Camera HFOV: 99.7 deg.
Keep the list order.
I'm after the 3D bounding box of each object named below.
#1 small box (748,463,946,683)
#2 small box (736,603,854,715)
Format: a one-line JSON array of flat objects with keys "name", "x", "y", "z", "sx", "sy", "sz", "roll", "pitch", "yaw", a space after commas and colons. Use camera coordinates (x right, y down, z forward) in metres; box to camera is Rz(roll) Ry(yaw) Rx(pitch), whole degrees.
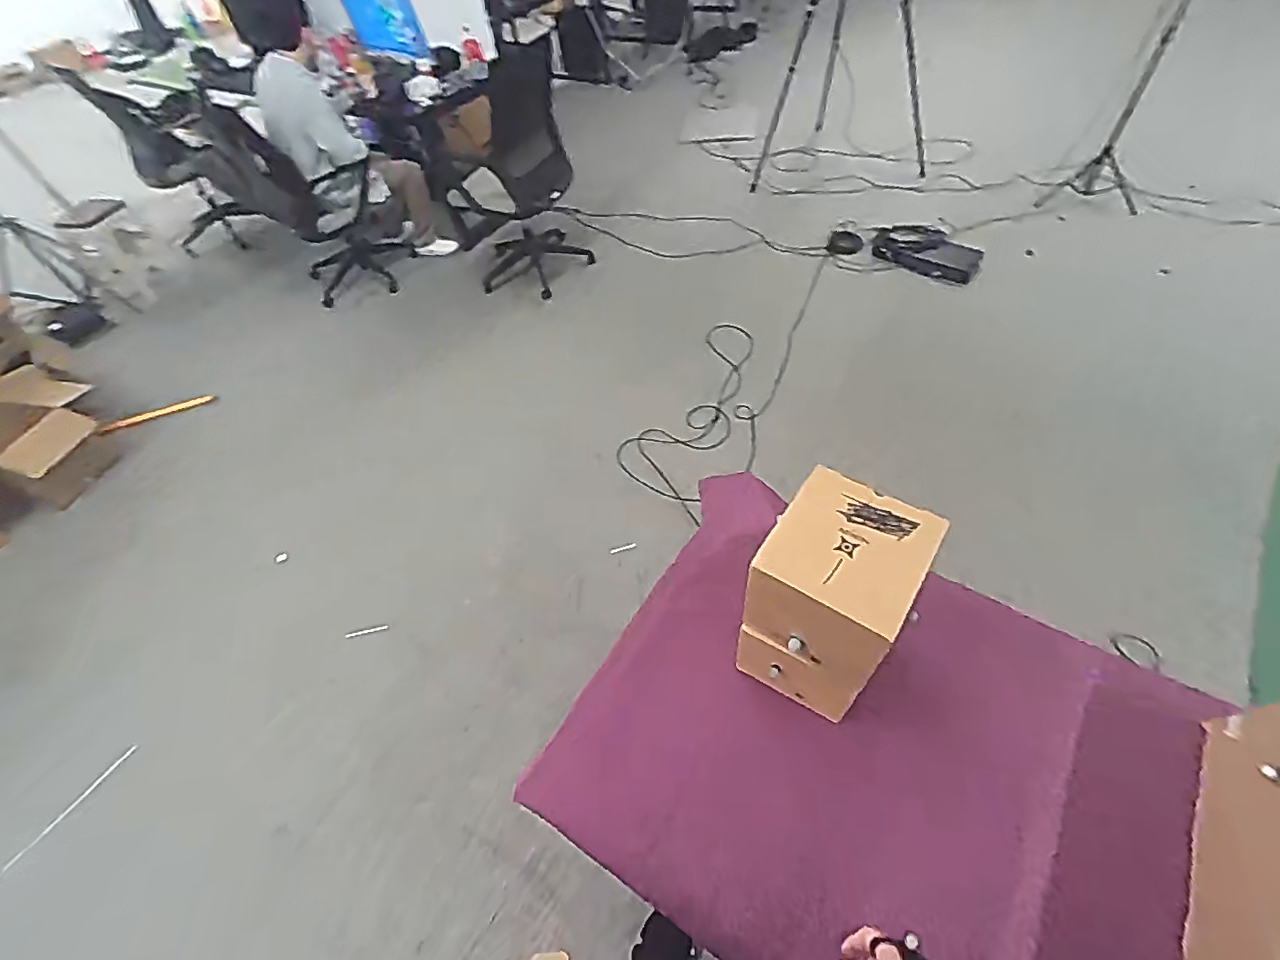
[{"name": "small box", "x": 0.245, "y": 0.117, "z": 0.678, "sx": 0.168, "sy": 0.176, "sz": 0.179, "roll": 28, "pitch": 61, "yaw": 26}, {"name": "small box", "x": 0.255, "y": 0.218, "z": 0.808, "sx": 0.168, "sy": 0.176, "sz": 0.179, "roll": 24, "pitch": 58, "yaw": 24}]
